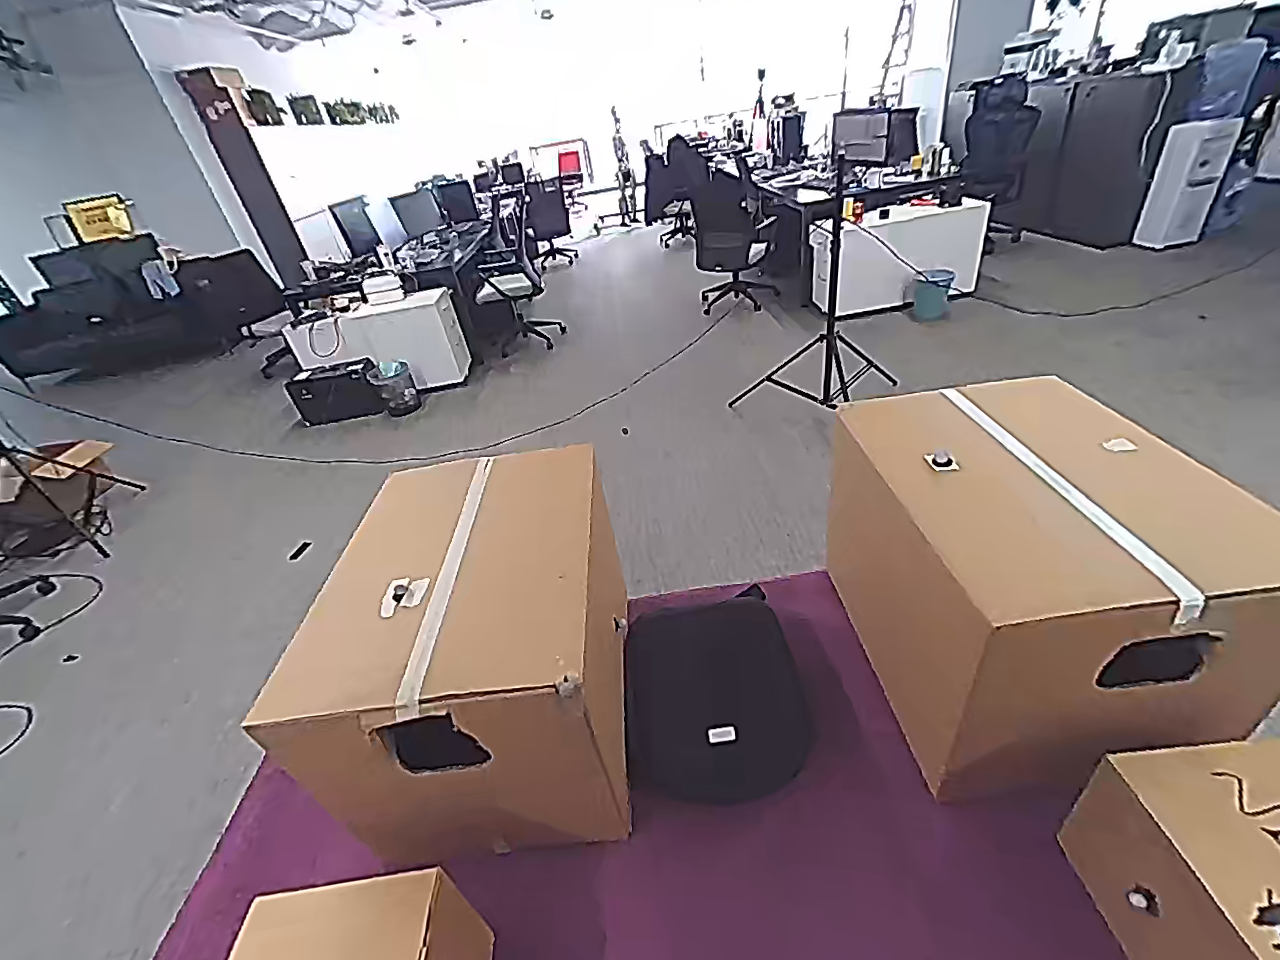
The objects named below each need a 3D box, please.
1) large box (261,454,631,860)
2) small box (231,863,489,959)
[{"bbox_3d":[-0.191,0.216,0.734,0.320,0.320,0.408,-9,37,3],"label":"large box"},{"bbox_3d":[-0.254,0.484,0.483,0.179,0.176,0.168,-10,33,0],"label":"small box"}]
